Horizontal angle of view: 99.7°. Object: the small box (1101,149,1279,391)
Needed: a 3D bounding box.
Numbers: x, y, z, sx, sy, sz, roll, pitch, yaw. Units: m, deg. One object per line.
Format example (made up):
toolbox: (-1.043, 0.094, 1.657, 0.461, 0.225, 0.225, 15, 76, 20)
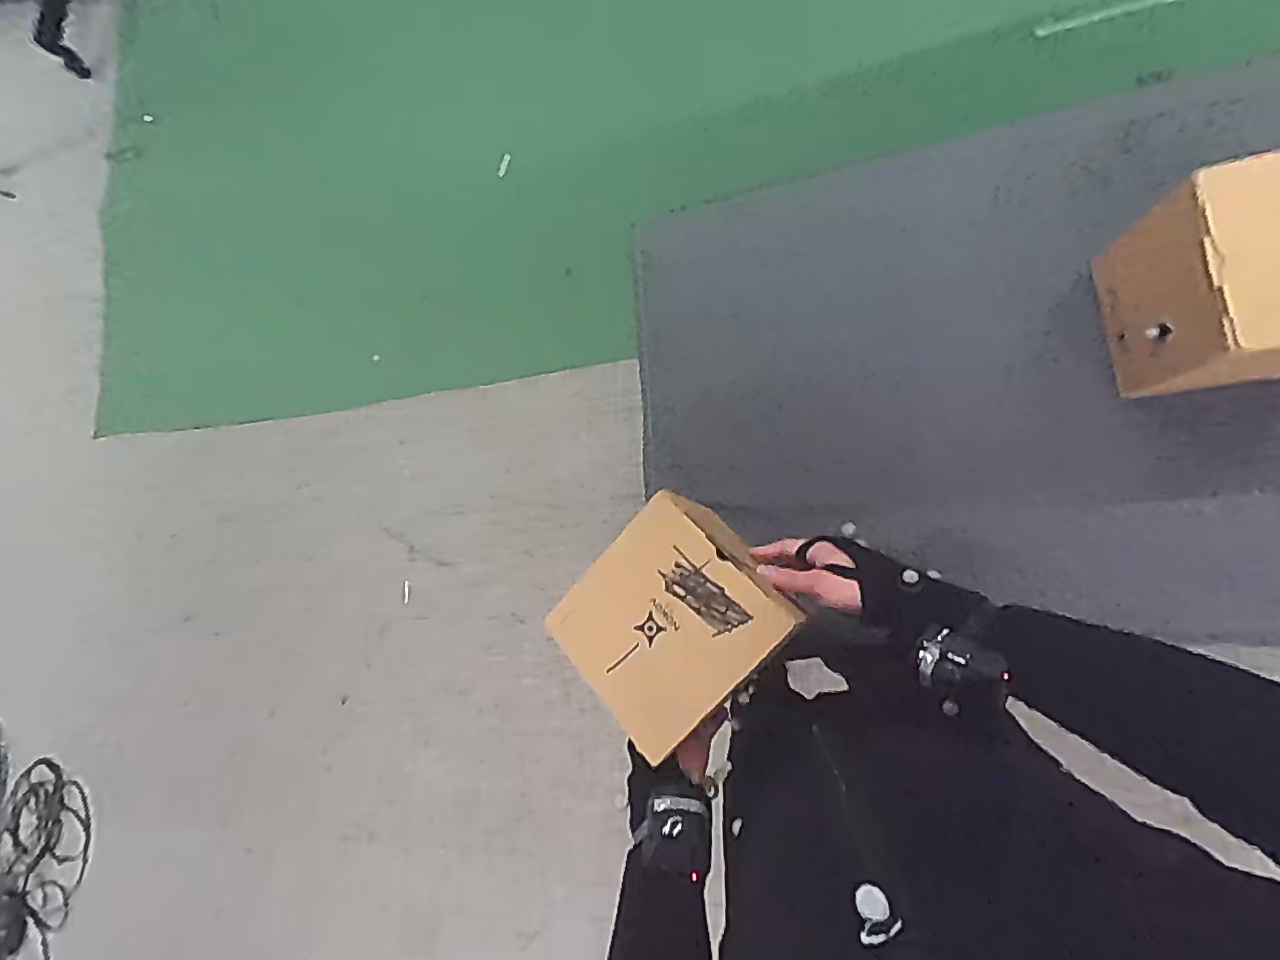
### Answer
small box: (0.584, -0.192, 0.512, 0.179, 0.176, 0.168, -8, 84, 13)
